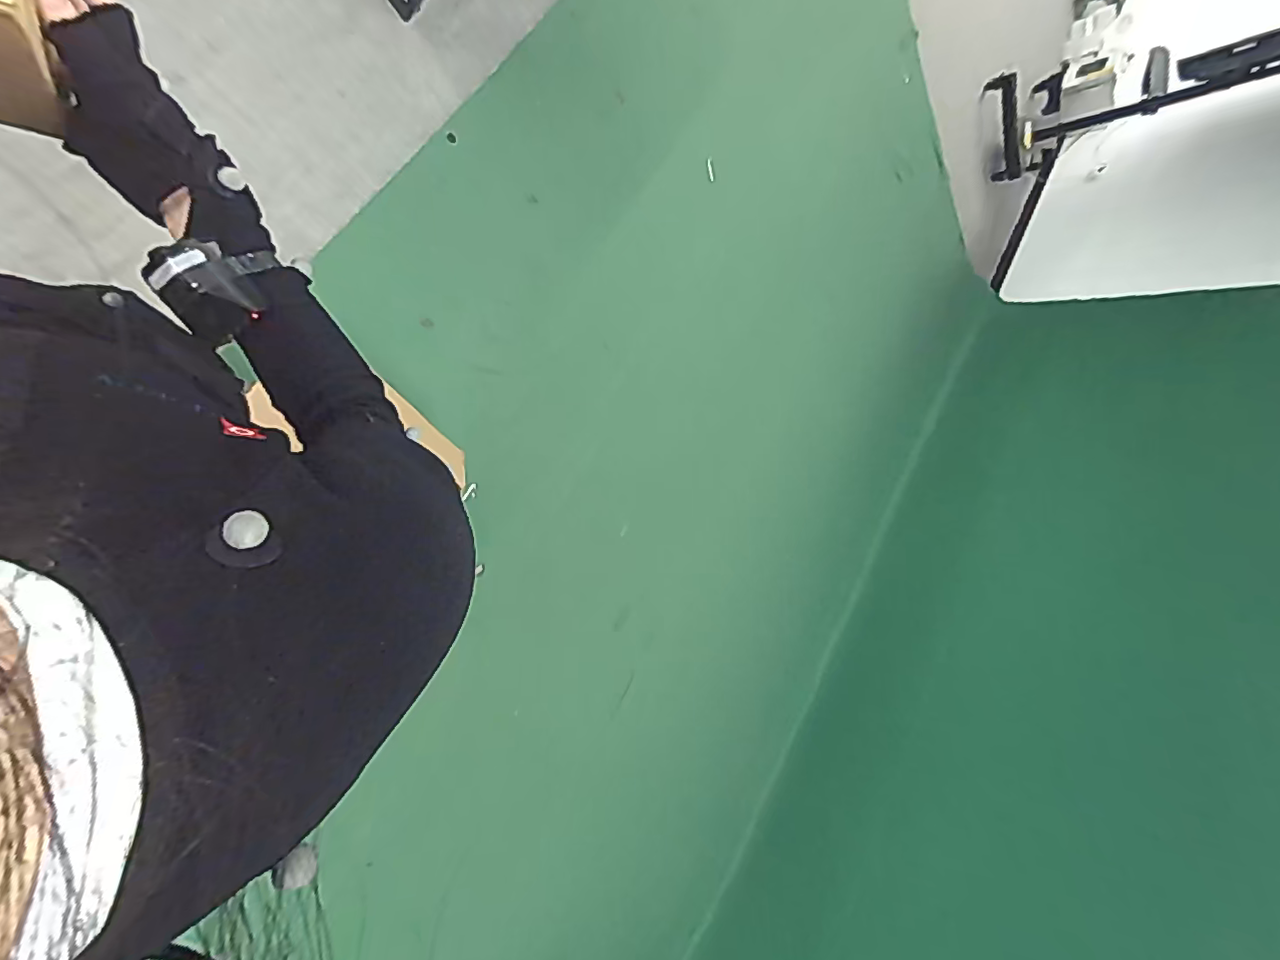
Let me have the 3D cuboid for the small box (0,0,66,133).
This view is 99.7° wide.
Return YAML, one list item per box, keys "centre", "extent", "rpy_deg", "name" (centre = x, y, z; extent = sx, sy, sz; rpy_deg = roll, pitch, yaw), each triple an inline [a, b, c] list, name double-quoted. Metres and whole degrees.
- centre: [-0.442, -0.333, 0.289]
  extent: [0.168, 0.176, 0.179]
  rpy_deg: [-3, 98, -40]
  name: "small box"
